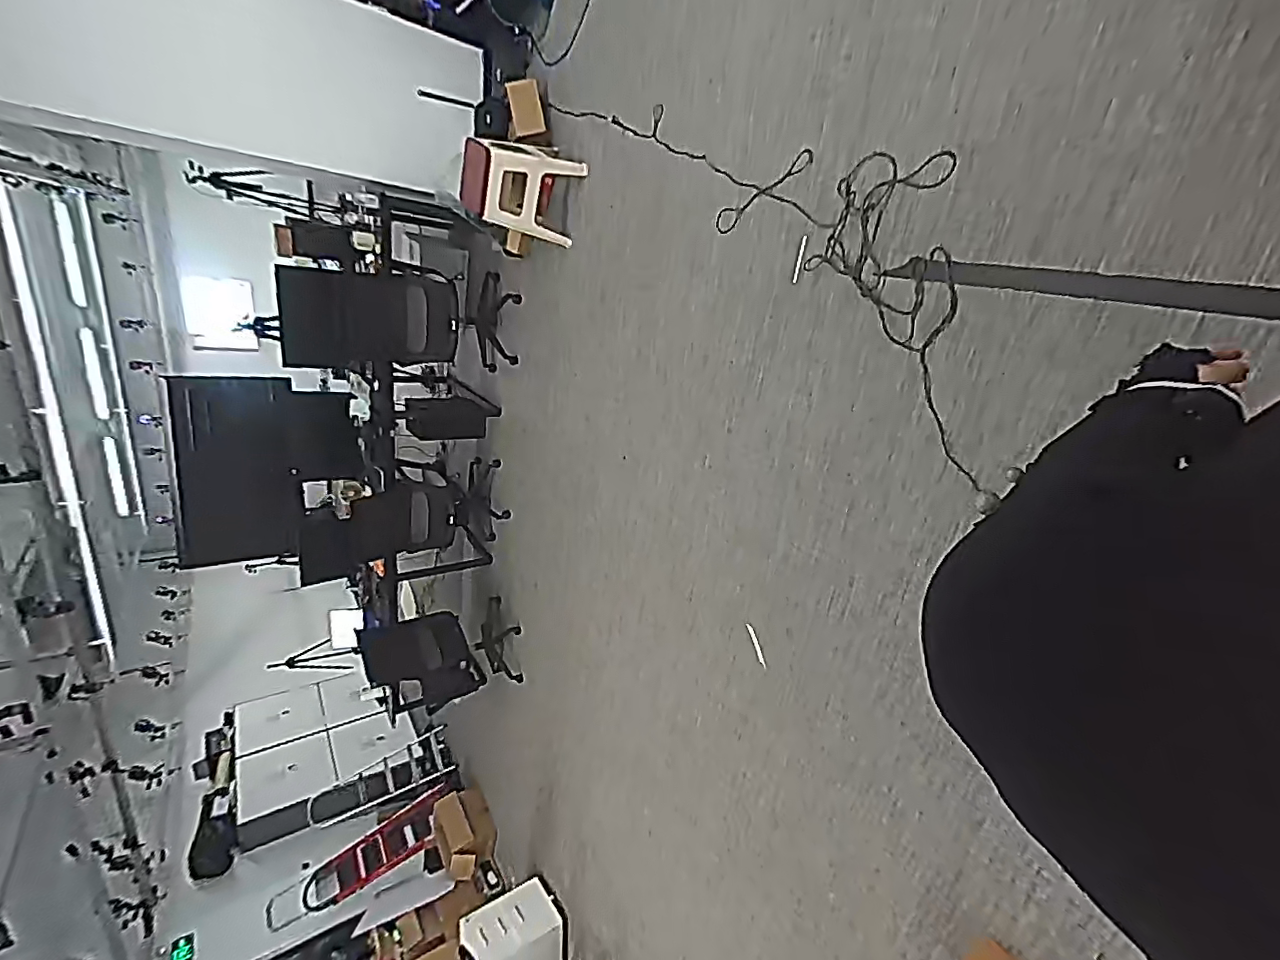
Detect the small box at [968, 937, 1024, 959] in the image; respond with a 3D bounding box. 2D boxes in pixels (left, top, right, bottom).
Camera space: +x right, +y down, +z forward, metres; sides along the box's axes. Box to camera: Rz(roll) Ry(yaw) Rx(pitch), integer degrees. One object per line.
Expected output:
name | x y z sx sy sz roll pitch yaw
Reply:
small box | 0.892 1.286 1.333 0.179 0.176 0.168 34 122 46
